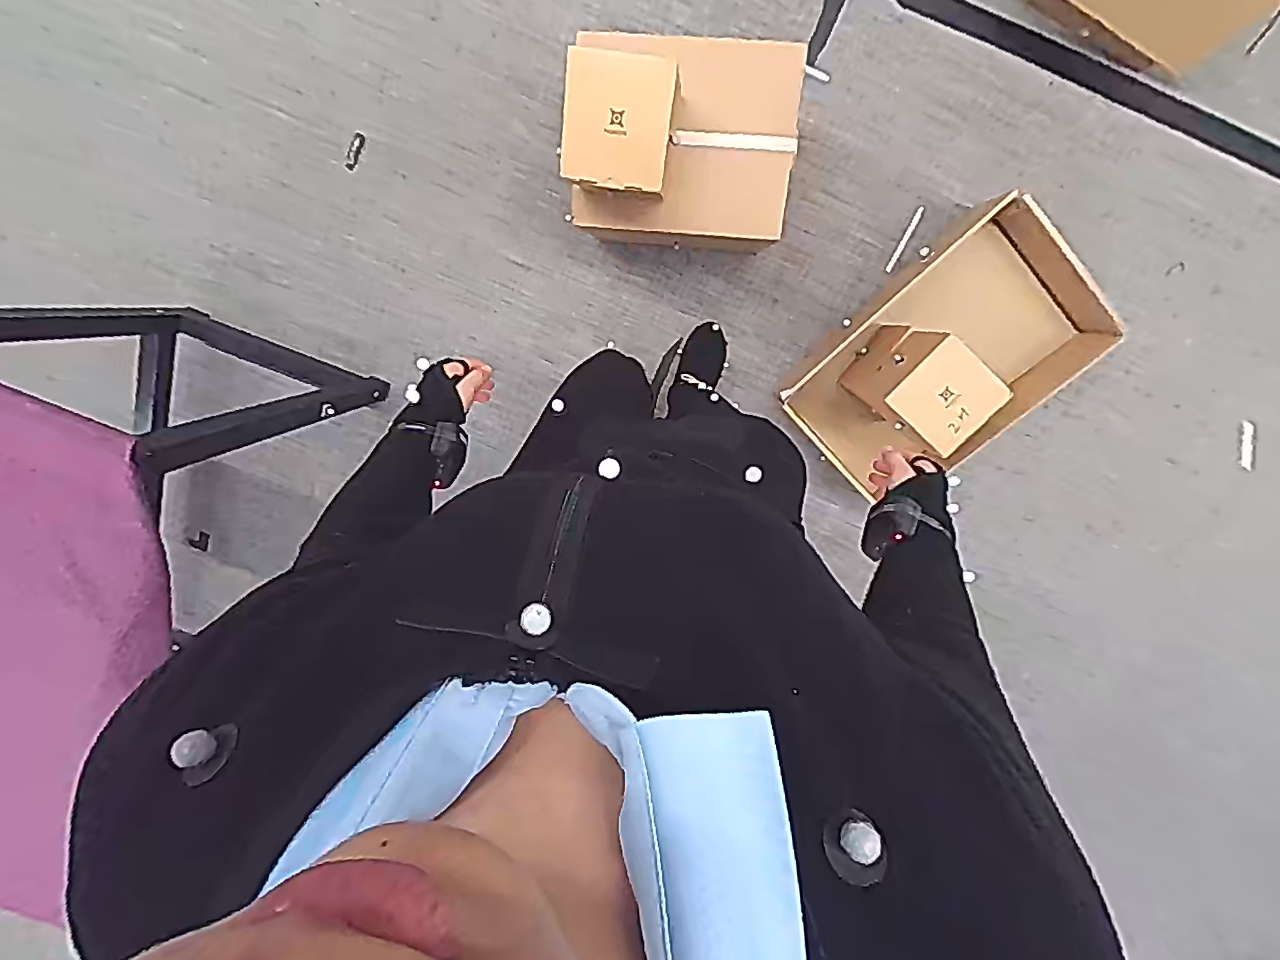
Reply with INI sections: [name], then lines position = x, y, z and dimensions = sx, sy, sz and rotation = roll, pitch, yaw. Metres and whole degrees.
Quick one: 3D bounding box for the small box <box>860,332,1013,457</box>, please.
[small box]
position = 0.578, -0.175, 1.082
dimensions = 0.179, 0.176, 0.168
rotation = 40, 105, -9
